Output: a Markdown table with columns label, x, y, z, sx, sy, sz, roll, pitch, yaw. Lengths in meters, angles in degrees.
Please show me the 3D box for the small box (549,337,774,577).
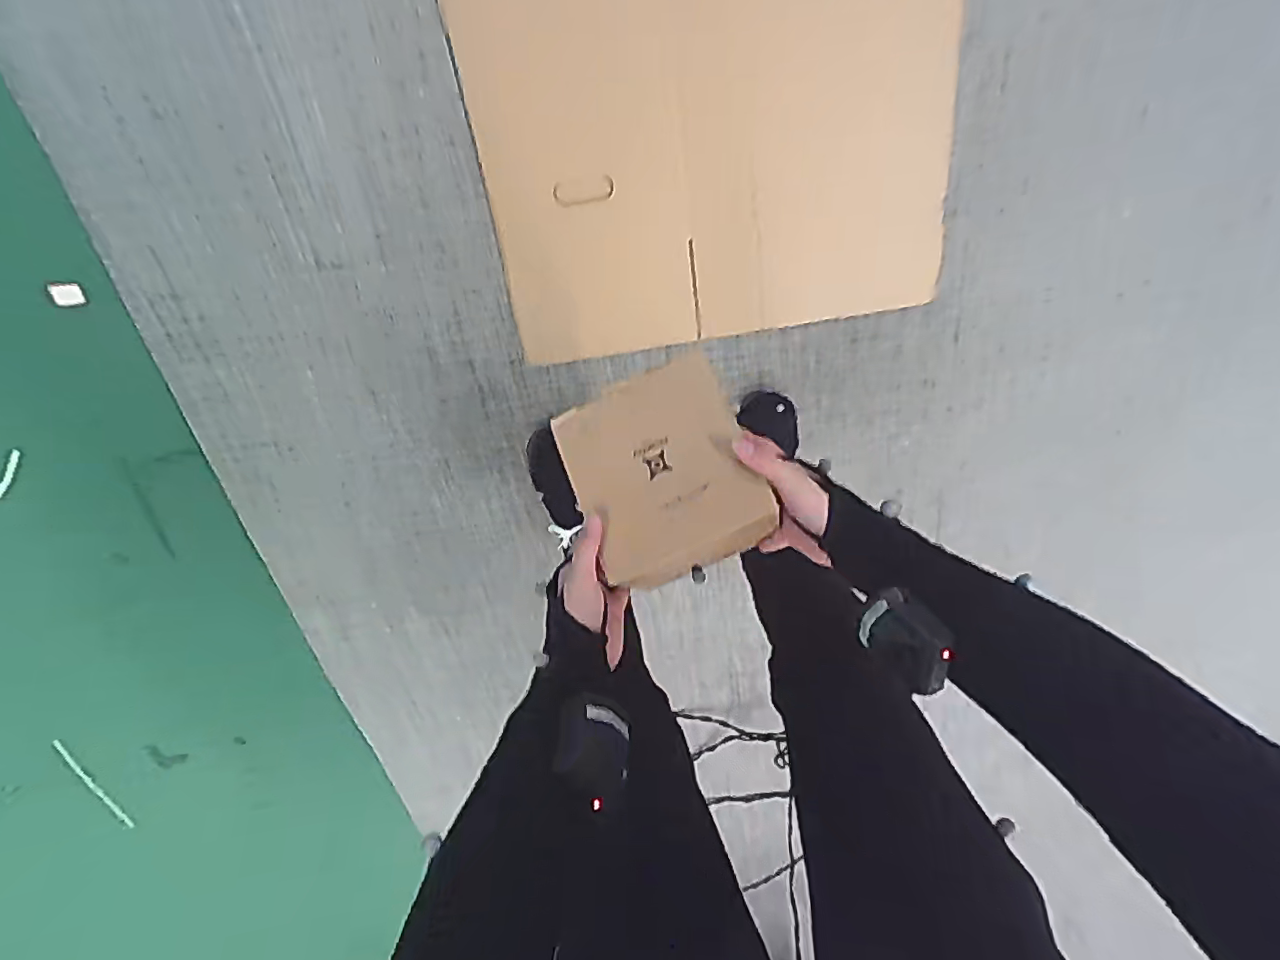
| label | x | y | z | sx | sy | sz | roll | pitch | yaw |
| --- | --- | --- | --- | --- | --- | --- | --- | --- | --- |
| small box | 0.030 | -0.010 | 0.571 | 0.168 | 0.176 | 0.179 | -25 | 72 | 8 |
